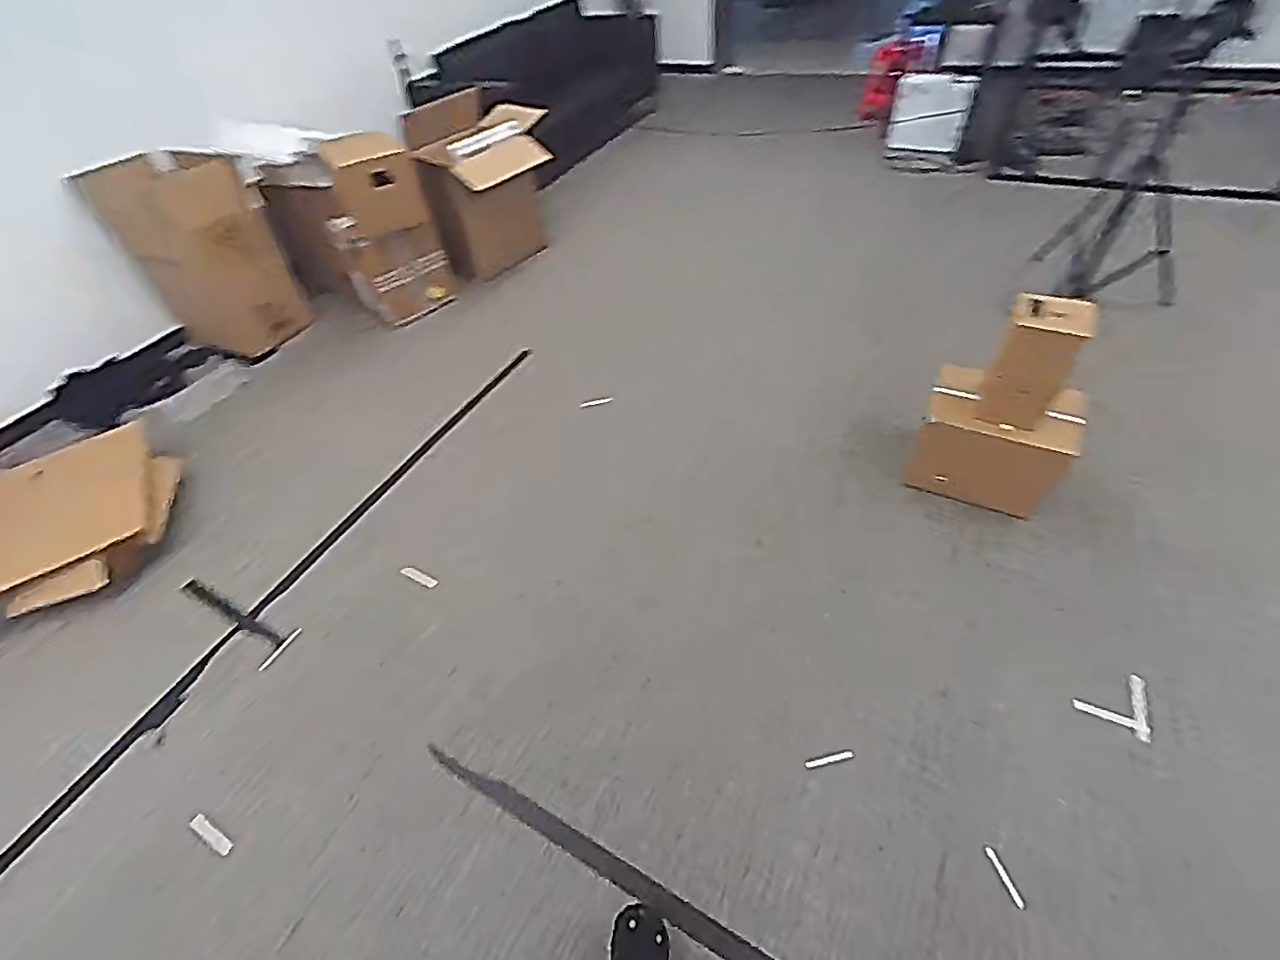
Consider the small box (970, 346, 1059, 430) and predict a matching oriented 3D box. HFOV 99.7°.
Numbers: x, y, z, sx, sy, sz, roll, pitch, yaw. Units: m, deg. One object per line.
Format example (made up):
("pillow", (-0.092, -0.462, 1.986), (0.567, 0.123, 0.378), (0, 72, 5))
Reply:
("small box", (1.113, -0.272, 1.616), (0.179, 0.176, 0.168), (18, 54, 20))
